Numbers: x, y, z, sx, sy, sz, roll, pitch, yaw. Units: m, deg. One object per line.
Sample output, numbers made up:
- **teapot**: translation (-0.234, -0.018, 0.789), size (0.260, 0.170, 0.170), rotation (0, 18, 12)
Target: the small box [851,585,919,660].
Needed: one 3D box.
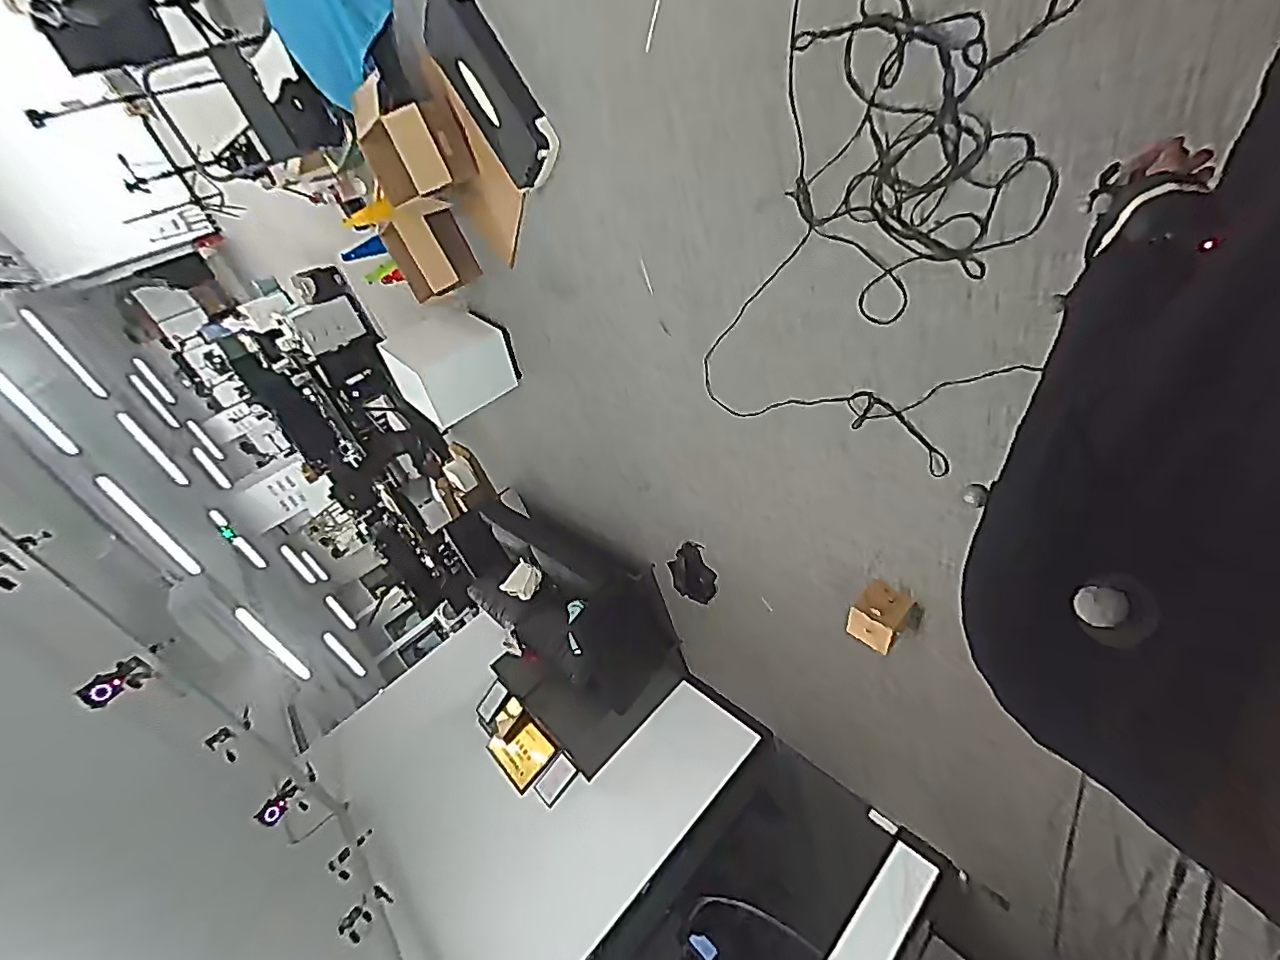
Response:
- **small box**: translation (0.927, 0.535, 2.044), size (0.168, 0.176, 0.179), rotation (31, 147, 38)
